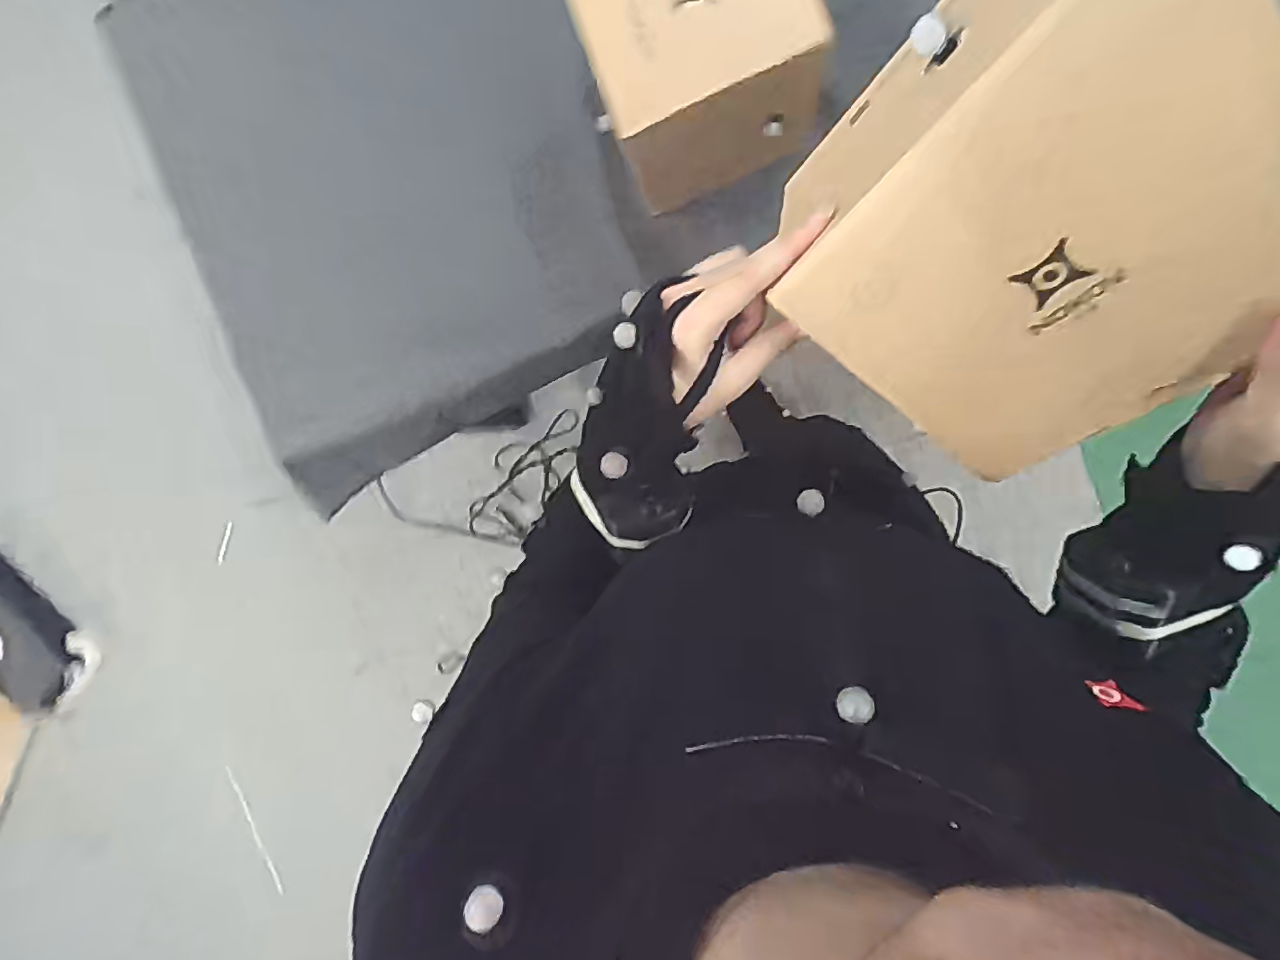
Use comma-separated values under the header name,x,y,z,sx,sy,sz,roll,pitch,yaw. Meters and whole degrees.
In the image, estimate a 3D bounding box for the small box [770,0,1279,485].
name,x,y,z,sx,sy,sz,roll,pitch,yaw
small box,0.192,-0.137,0.283,0.179,0.176,0.168,34,135,-16

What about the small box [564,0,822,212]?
name,x,y,z,sx,sy,sz,roll,pitch,yaw
small box,0.046,-0.389,0.503,0.179,0.176,0.168,-21,91,12
